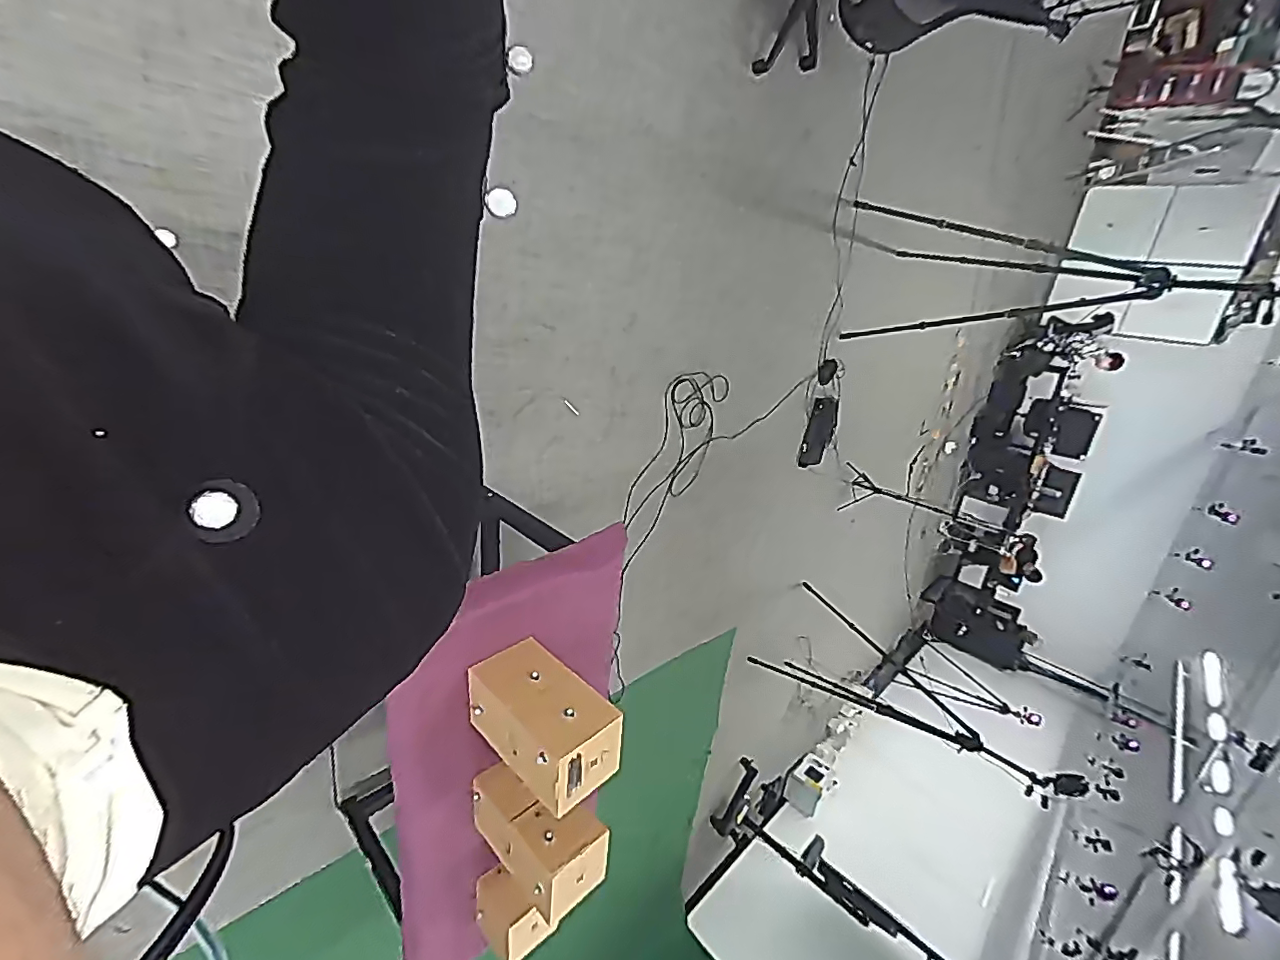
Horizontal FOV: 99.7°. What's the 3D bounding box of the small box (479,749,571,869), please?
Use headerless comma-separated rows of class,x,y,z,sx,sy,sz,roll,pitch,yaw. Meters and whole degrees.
small box,-0.299,0.828,1.388,0.179,0.176,0.168,-16,120,-44

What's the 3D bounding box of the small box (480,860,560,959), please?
small box,-0.336,1.193,1.522,0.168,0.176,0.179,-14,118,-44

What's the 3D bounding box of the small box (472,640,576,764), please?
small box,-0.270,0.506,1.262,0.179,0.176,0.168,-17,120,-42

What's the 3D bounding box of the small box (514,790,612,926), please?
small box,-0.186,0.878,1.282,0.168,0.176,0.179,-15,119,-42
